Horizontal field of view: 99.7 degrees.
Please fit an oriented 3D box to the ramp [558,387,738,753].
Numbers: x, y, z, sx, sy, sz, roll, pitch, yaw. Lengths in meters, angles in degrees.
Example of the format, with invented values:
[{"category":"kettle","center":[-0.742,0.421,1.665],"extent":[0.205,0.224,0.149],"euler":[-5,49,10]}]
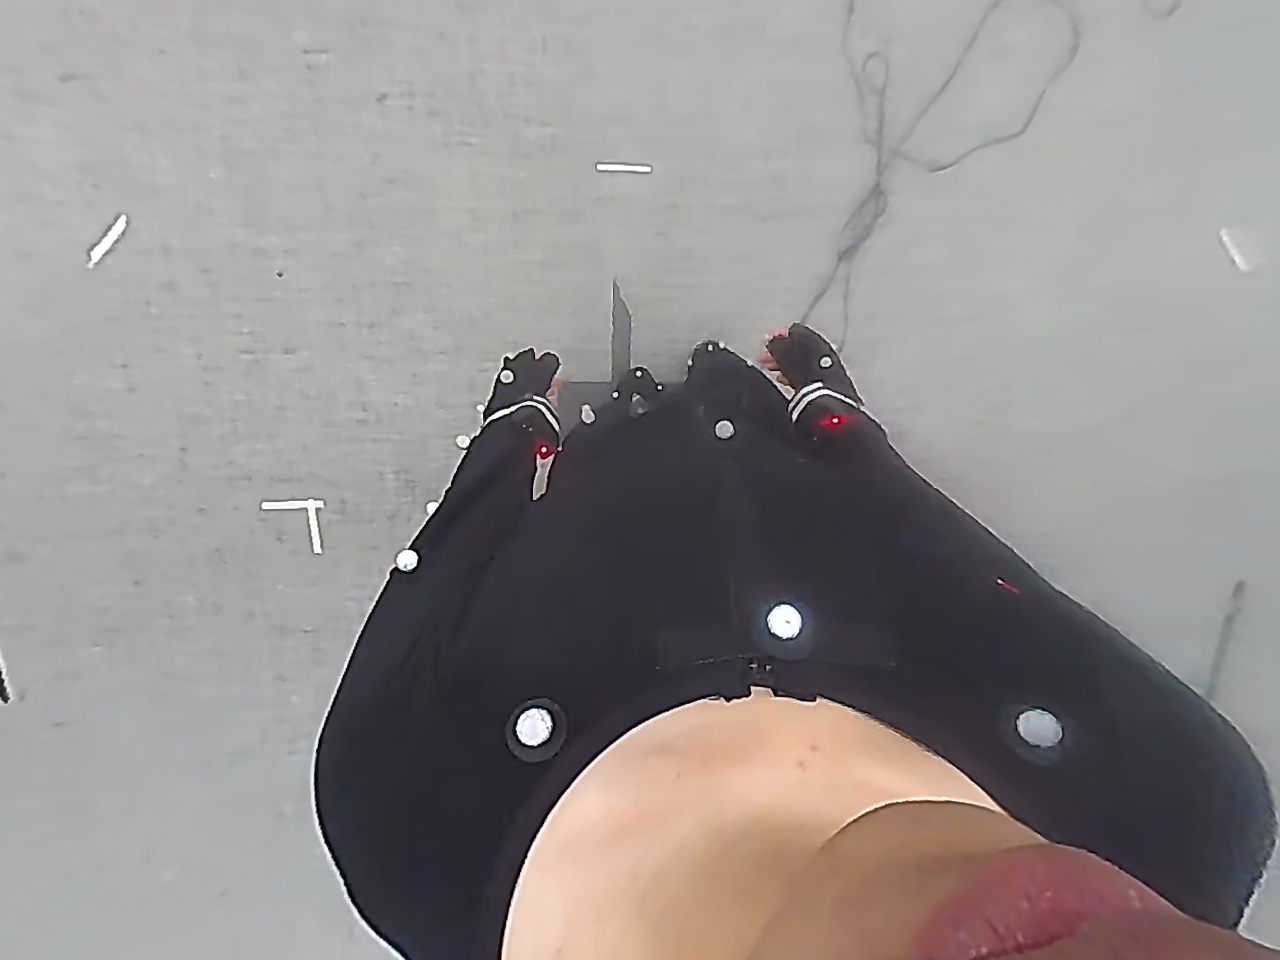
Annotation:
[{"category":"ramp","center":[0.020,0.247,1.479],"extent":[0.509,0.206,0.991],"euler":[-1,101,0]}]
